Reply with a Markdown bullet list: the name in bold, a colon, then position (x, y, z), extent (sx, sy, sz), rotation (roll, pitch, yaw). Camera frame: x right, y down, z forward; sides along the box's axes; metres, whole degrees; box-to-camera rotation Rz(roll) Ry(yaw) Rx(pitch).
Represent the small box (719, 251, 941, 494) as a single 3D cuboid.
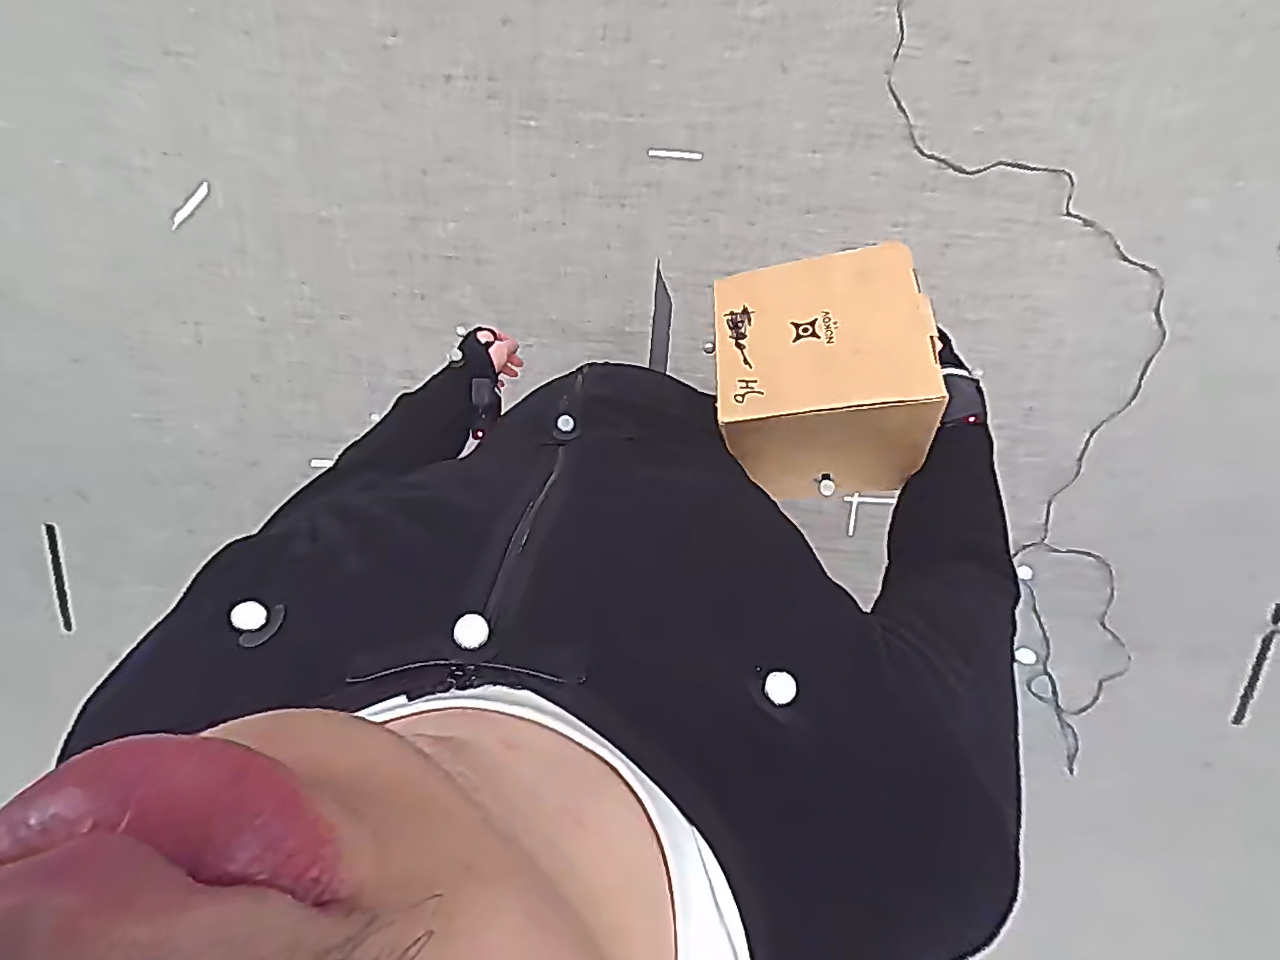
- **small box**: position (0.177, -0.095, 0.548), extent (0.179, 0.176, 0.168), rotation (-4, 62, 15)
